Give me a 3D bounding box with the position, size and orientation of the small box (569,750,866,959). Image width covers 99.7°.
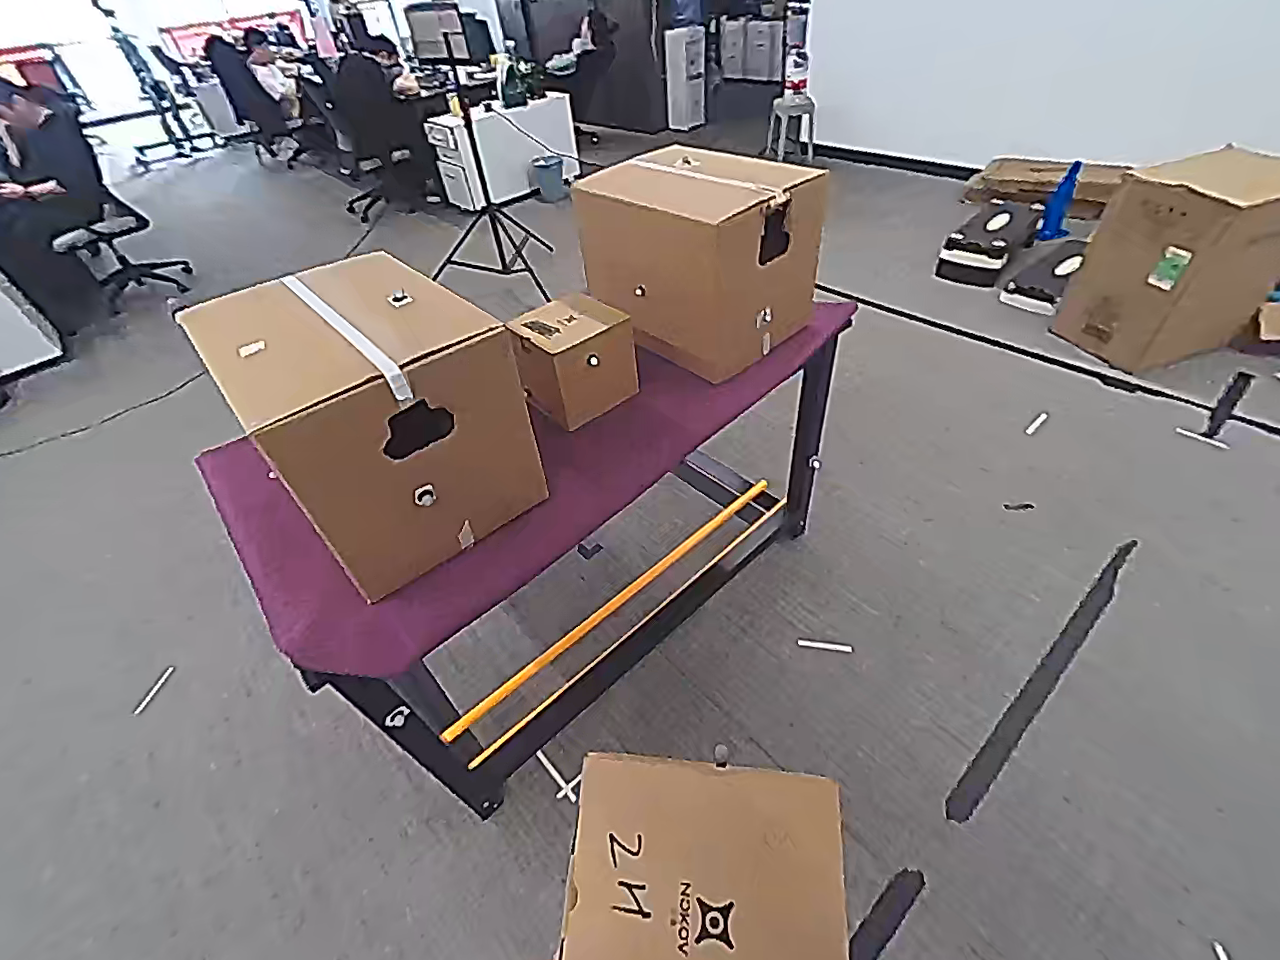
[{"bbox_3d":[0.057,0.299,0.398,0.179,0.176,0.168,1,63,10],"label":"small box"}]

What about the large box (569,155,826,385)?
[{"bbox_3d":[0.118,-0.453,1.134,0.320,0.320,0.408,-35,49,-26],"label":"large box"}]
